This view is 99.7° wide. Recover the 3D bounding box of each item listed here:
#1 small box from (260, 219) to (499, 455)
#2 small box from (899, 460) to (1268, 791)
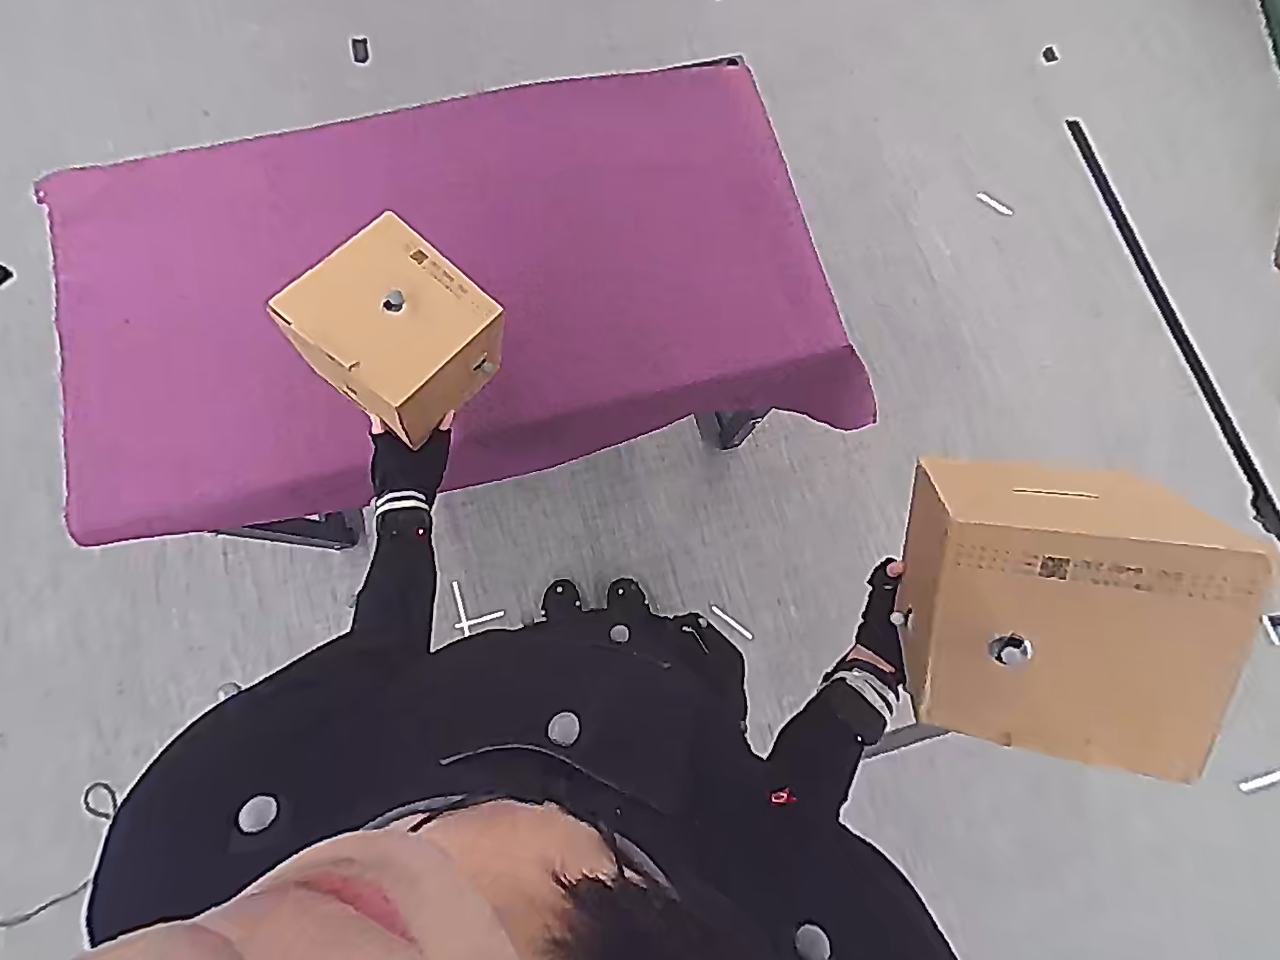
[{"bbox_3d":[-0.283,-0.160,0.633,0.168,0.179,0.176,42,71,-5],"label":"small box"},{"bbox_3d":[0.307,0.086,0.414,0.168,0.179,0.176,7,108,18],"label":"small box"}]
